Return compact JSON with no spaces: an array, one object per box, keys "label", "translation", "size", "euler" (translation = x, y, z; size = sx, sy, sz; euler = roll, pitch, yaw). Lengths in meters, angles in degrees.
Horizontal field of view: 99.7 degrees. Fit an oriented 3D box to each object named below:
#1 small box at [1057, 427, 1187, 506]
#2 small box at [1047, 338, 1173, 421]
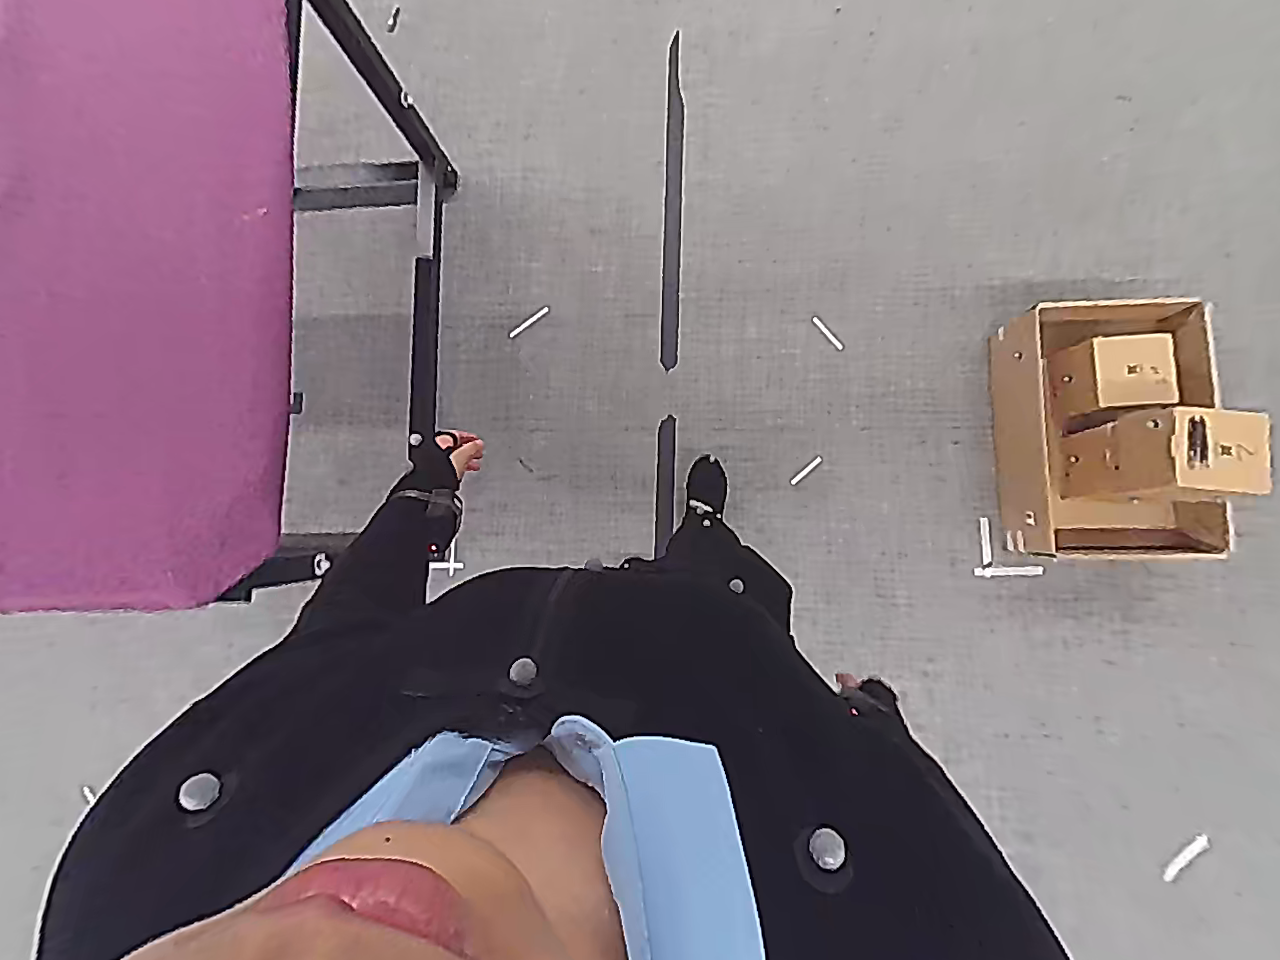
[{"label":"small box","translation":[1.168,-0.028,1.321],"size":[0.179,0.176,0.168],"euler":[4,82,5]},{"label":"small box","translation":[1.148,-0.243,1.339],"size":[0.179,0.176,0.168],"euler":[-2,86,4]}]
